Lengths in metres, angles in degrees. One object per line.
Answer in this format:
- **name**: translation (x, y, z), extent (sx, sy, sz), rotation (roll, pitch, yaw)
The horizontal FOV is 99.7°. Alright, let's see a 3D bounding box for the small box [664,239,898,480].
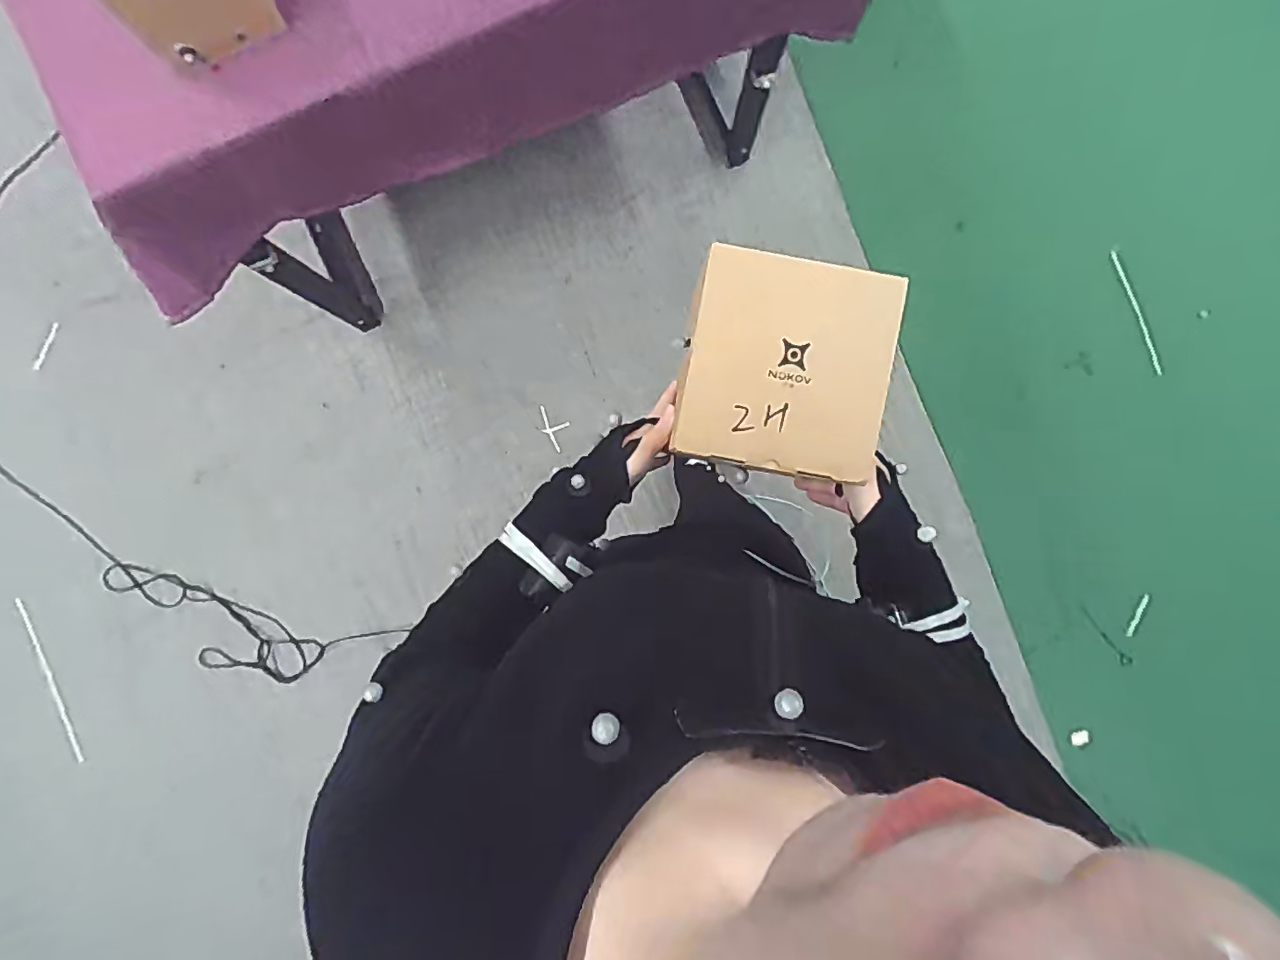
- **small box**: translation (0.118, -0.101, 0.525), extent (0.168, 0.176, 0.179), rotation (10, 92, 0)

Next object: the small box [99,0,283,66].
- **small box**: translation (-0.608, -0.682, 0.692), extent (0.168, 0.176, 0.179), rotation (-25, 88, -1)
